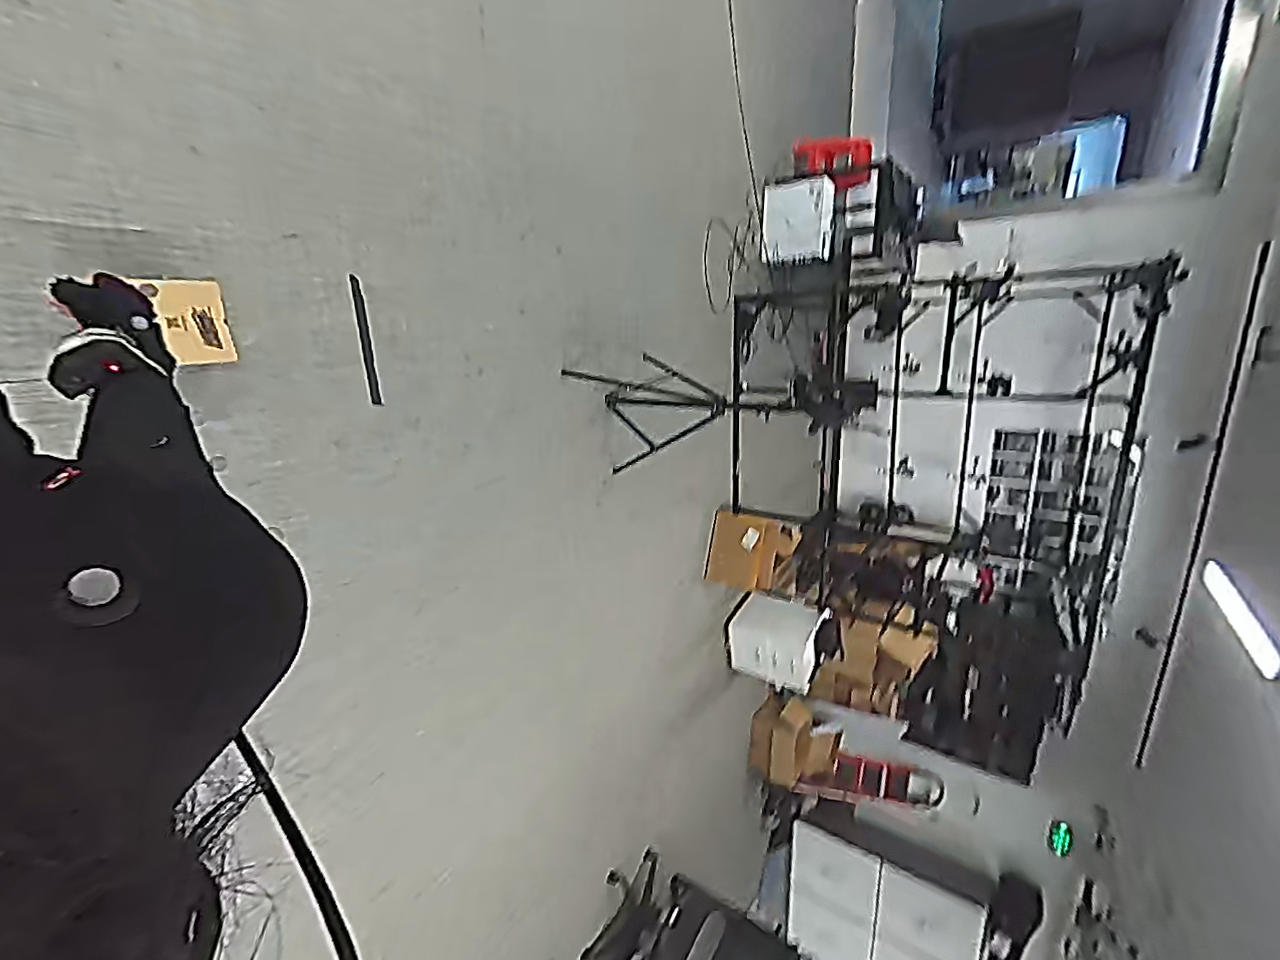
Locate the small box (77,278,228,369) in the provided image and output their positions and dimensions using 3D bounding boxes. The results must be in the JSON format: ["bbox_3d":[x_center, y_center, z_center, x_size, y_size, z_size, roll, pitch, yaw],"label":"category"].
[{"bbox_3d":[-0.998,-0.318,1.110,0.179,0.176,0.168,-23,115,-51],"label":"small box"}]
